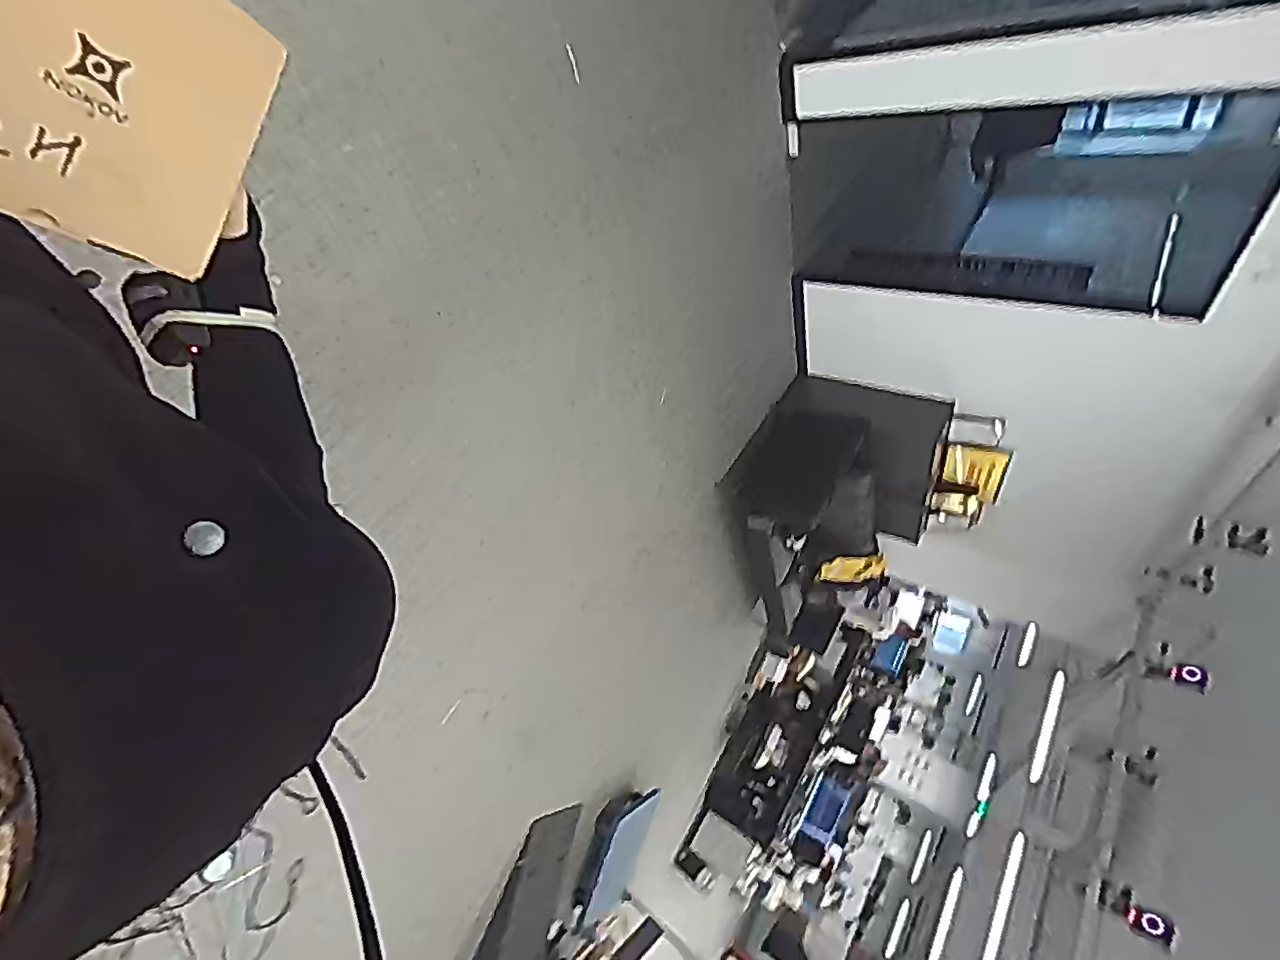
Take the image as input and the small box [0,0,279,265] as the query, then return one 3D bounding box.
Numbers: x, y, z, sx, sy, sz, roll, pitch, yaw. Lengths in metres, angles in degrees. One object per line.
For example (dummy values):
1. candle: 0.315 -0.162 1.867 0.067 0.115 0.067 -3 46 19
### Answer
1. small box: -0.372 -0.268 0.322 0.179 0.176 0.168 -63 160 6
